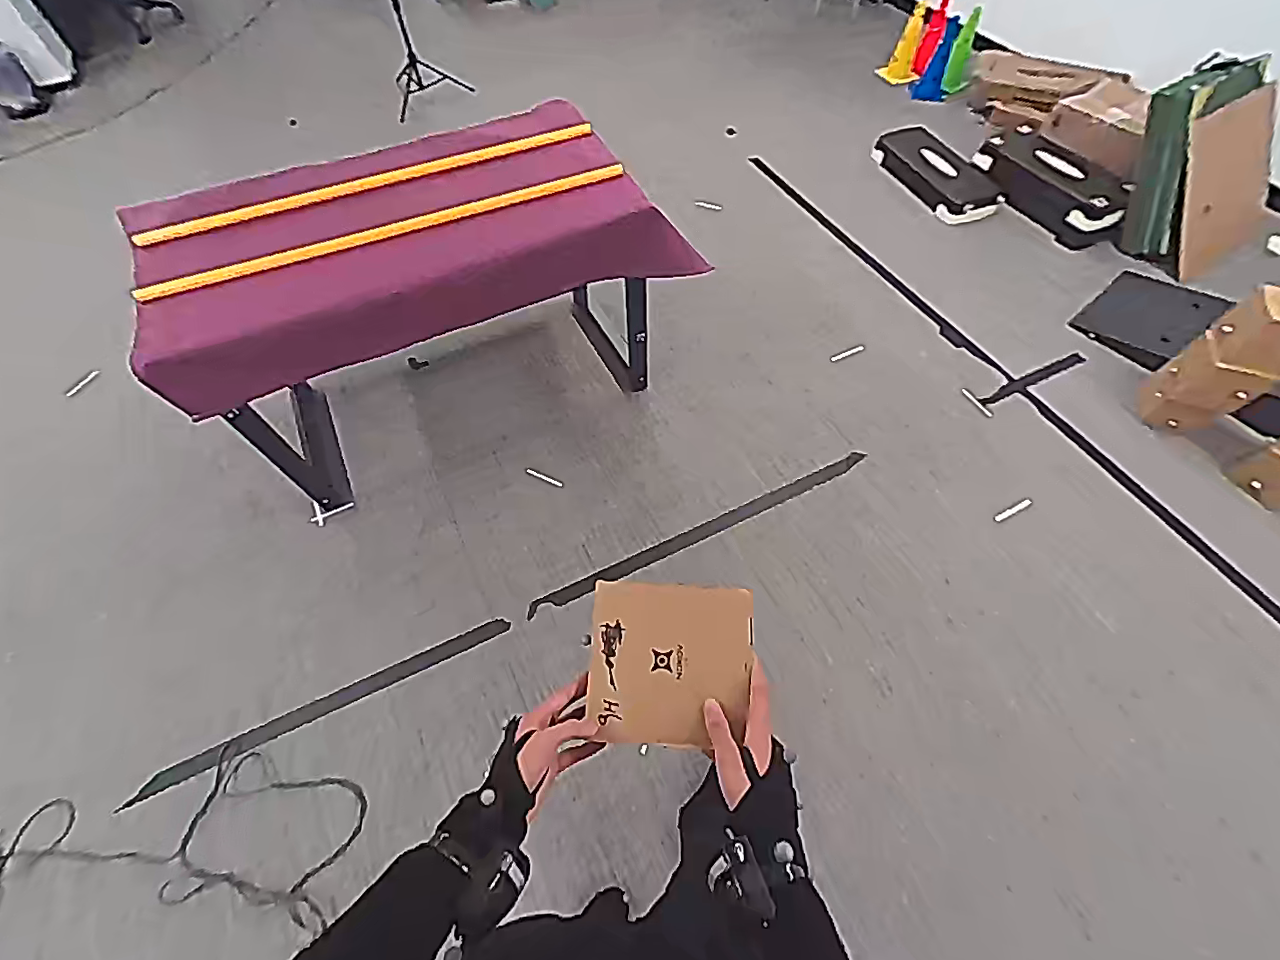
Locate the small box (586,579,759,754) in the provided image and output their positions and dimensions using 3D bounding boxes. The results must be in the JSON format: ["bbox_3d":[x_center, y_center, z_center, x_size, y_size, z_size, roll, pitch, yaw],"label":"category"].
[{"bbox_3d":[0.038,0.217,0.648,0.179,0.176,0.168,4,72,2],"label":"small box"}]
